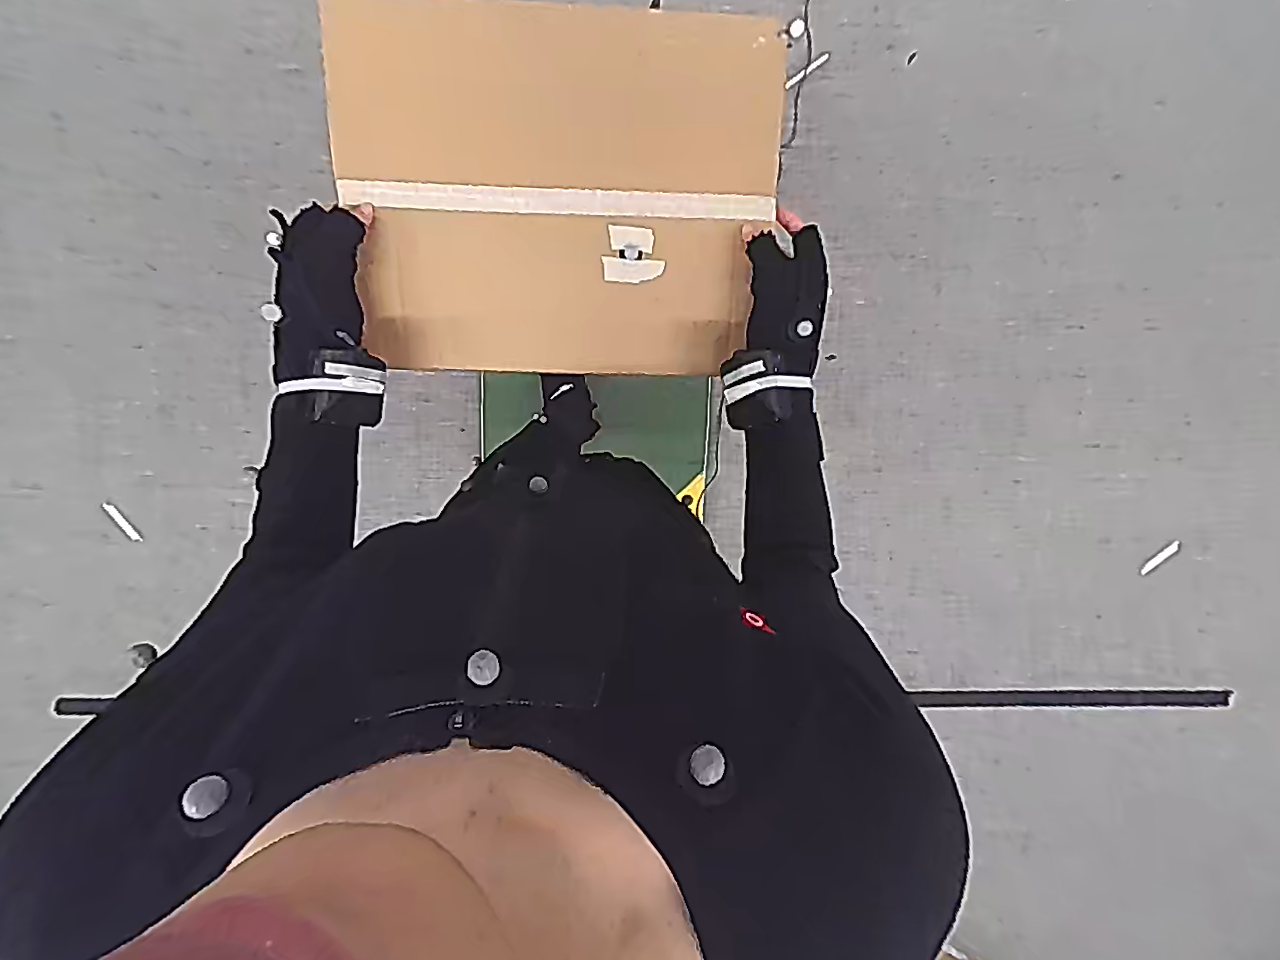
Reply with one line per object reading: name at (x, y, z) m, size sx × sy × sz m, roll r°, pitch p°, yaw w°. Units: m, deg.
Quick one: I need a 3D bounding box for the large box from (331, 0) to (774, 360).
large box at (-0.085, -0.312, 0.663) m, size 0.408 × 0.320 × 0.320 m, roll 0°, pitch 105°, yaw -4°
